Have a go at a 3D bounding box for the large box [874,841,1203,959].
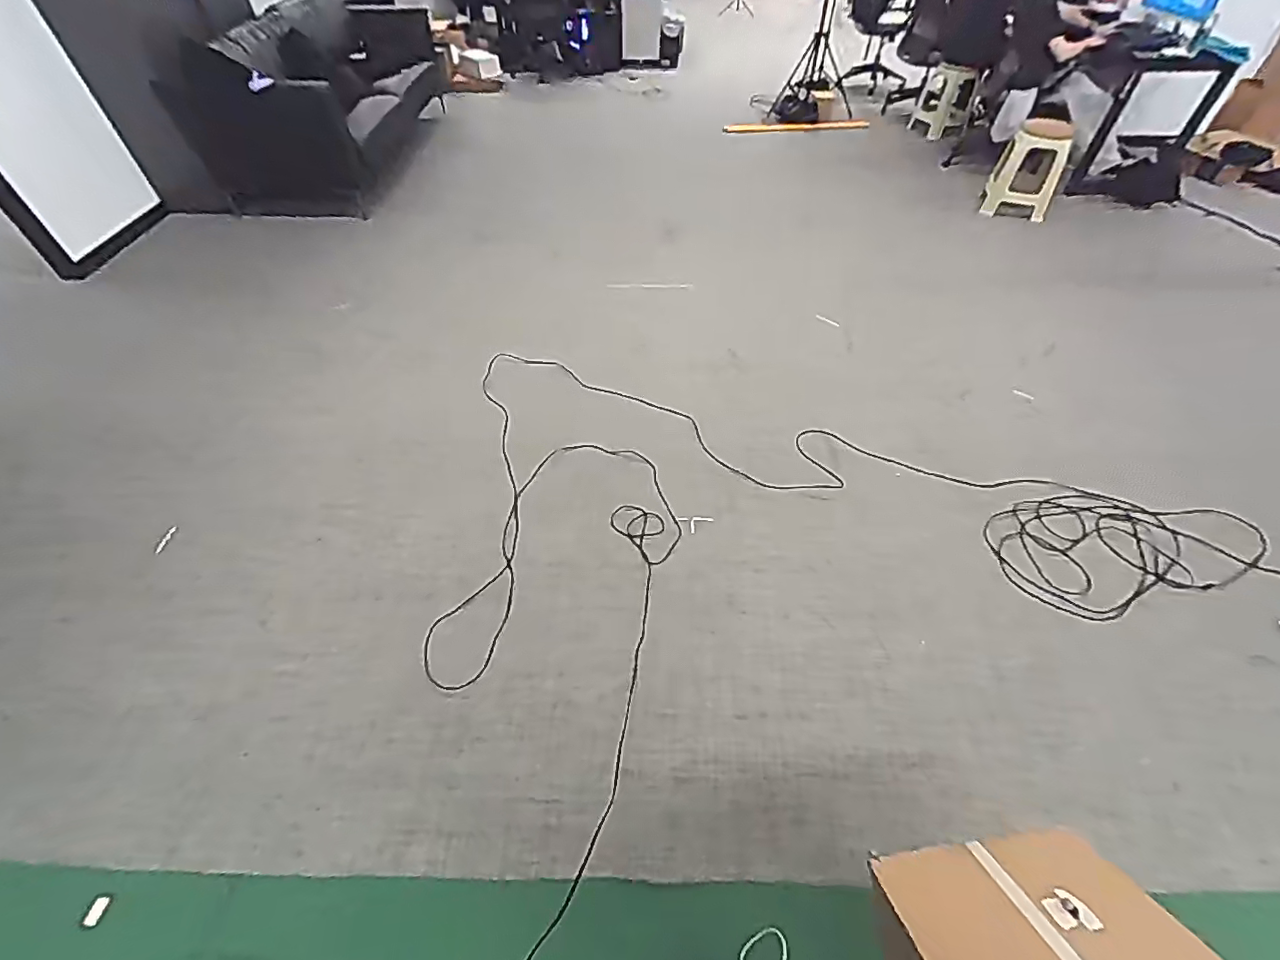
[{"bbox_3d":[0.535,0.732,0.631,0.320,0.408,0.320,-10,93,0],"label":"large box"}]
